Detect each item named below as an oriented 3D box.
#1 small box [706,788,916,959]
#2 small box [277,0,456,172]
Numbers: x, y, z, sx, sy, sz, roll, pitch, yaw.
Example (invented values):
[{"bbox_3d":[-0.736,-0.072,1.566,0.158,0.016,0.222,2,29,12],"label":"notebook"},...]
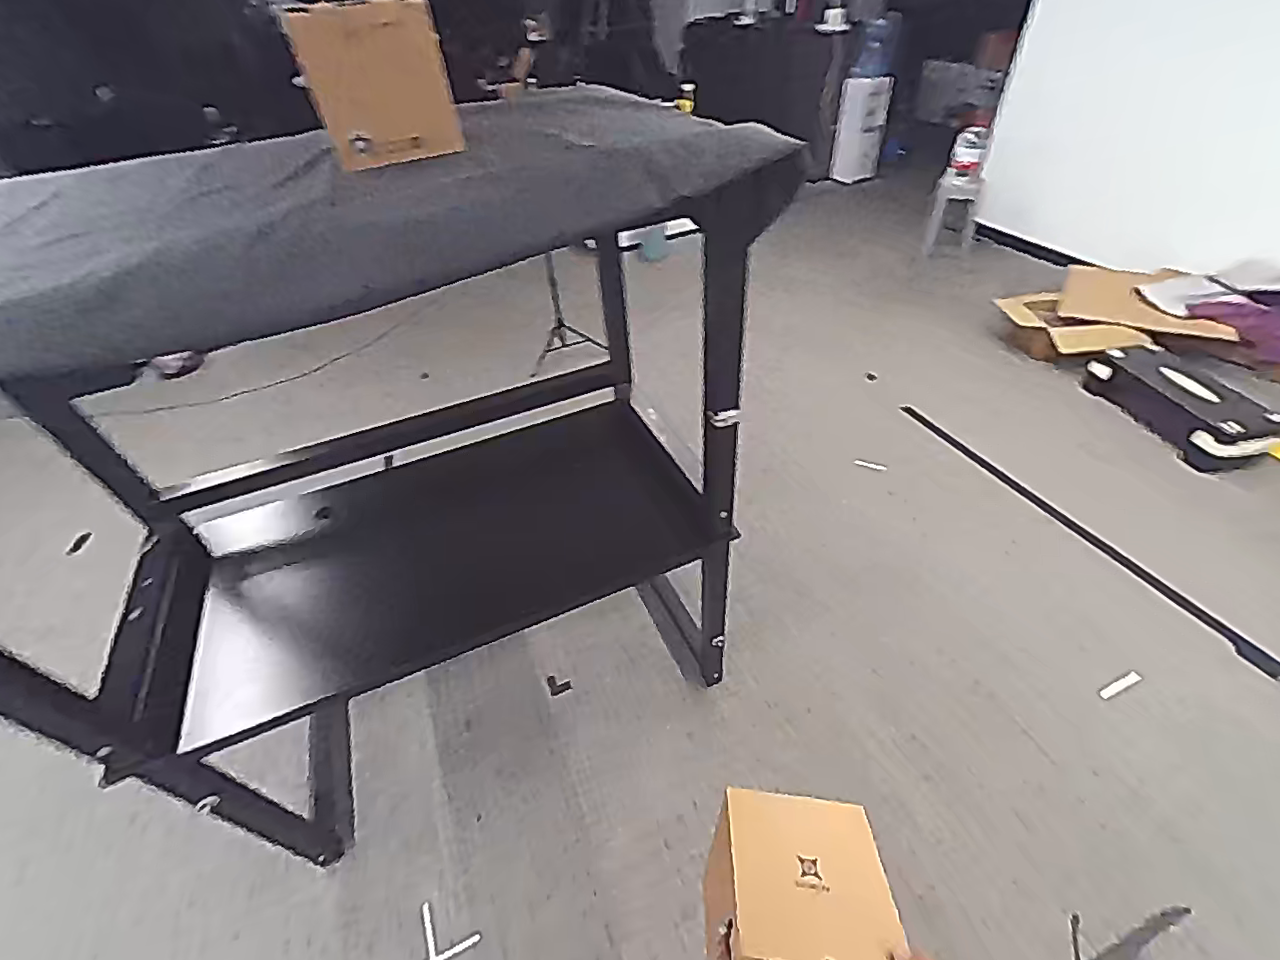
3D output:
[{"bbox_3d":[0.169,0.482,0.590,0.168,0.176,0.179,8,23,1],"label":"small box"},{"bbox_3d":[-0.373,-0.546,0.753,0.168,0.176,0.179,-21,45,-16],"label":"small box"}]
